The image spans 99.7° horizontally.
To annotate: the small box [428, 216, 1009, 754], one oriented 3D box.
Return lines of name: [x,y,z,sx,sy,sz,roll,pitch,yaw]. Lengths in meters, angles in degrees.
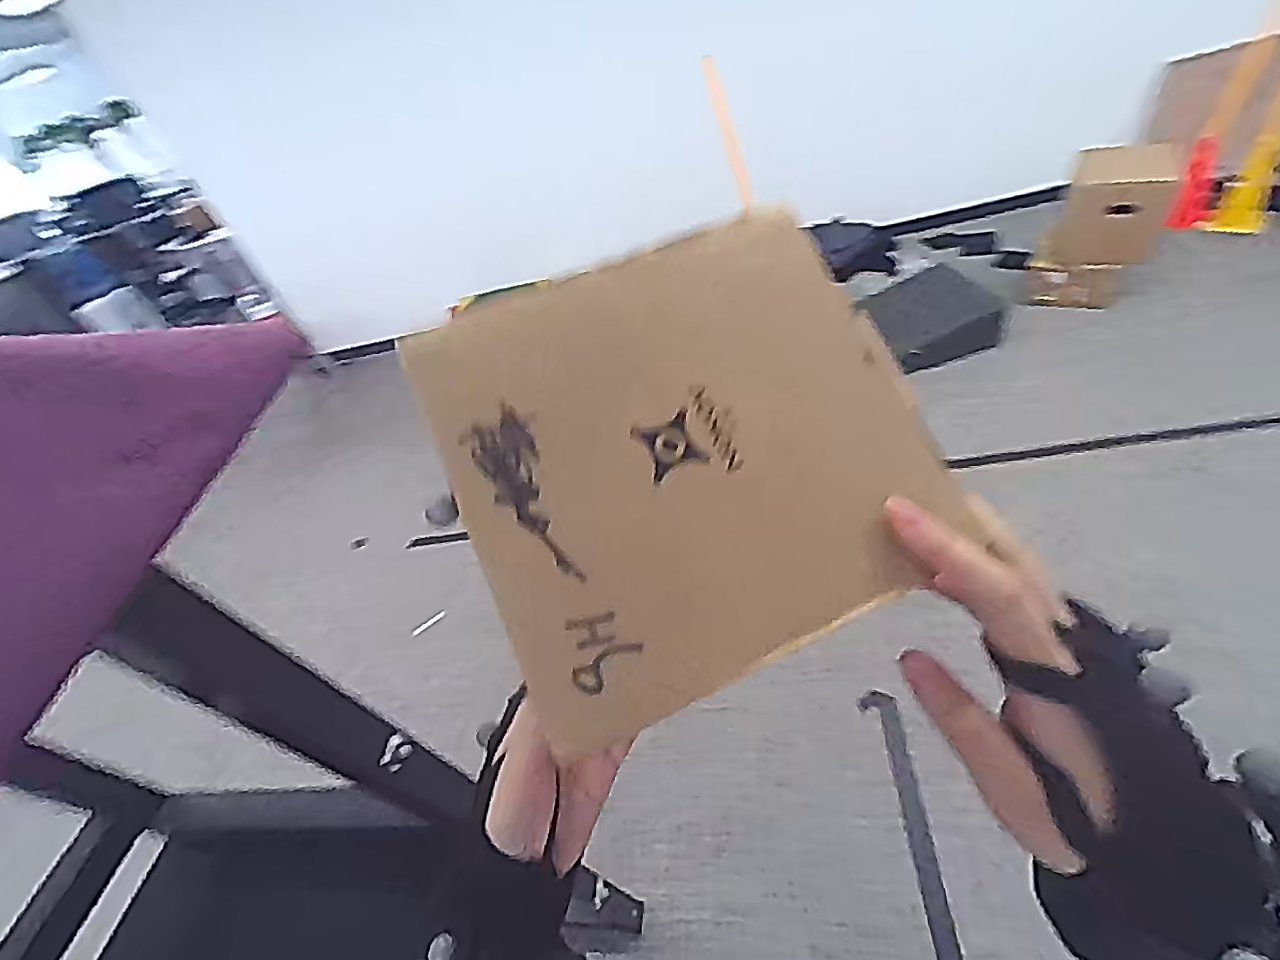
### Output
small box: [0.021,0.009,0.278,0.179,0.176,0.168,-22,74,-11]
